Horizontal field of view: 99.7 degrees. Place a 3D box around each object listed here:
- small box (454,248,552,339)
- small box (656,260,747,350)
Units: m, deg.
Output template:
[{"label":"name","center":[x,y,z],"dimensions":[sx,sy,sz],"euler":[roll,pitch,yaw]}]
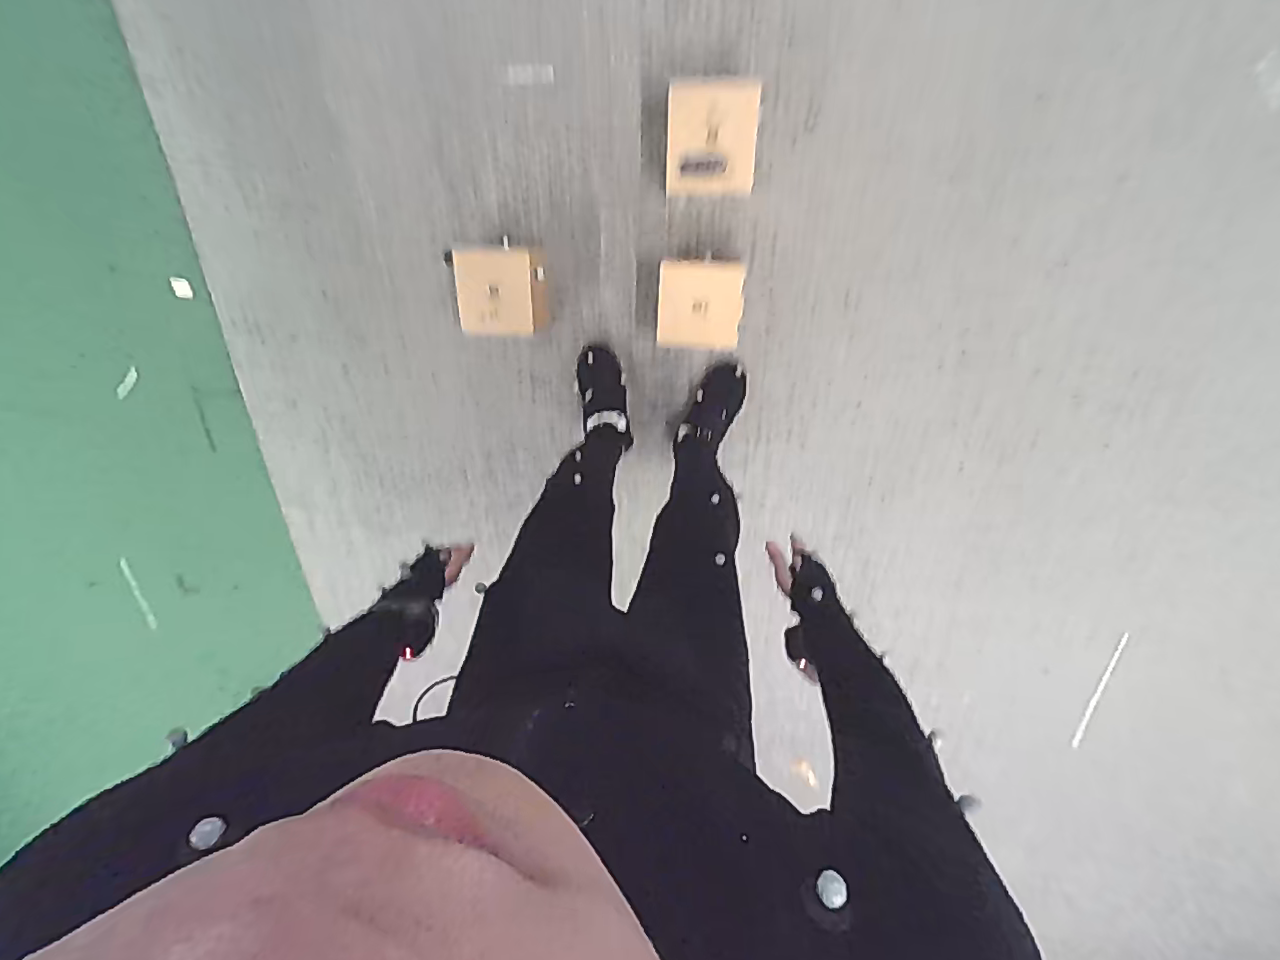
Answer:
[{"label":"small box","center":[-0.300,-0.425,1.219],"dimensions":[0.168,0.176,0.179],"euler":[4,116,5]},{"label":"small box","center":[0.132,-0.390,1.189],"dimensions":[0.179,0.176,0.168],"euler":[4,116,4]}]
